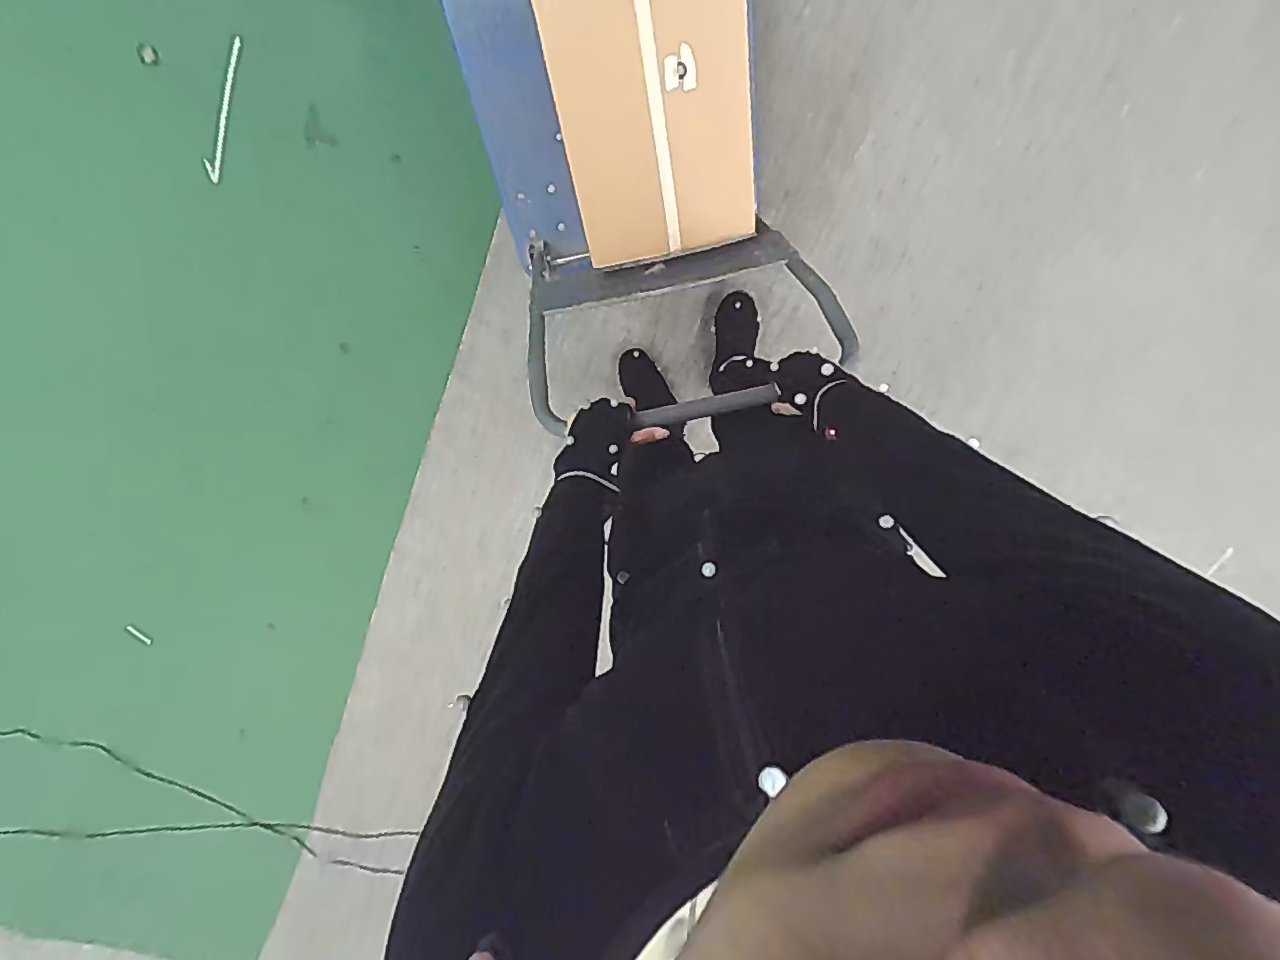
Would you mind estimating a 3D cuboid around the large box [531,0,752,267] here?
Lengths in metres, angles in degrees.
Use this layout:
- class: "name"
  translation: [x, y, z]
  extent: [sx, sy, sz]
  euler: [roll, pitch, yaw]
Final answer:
- class: "large box"
  translation: [0.013, -0.678, 1.026]
  extent: [0.320, 0.320, 0.408]
  euler: [-12, 128, 2]
